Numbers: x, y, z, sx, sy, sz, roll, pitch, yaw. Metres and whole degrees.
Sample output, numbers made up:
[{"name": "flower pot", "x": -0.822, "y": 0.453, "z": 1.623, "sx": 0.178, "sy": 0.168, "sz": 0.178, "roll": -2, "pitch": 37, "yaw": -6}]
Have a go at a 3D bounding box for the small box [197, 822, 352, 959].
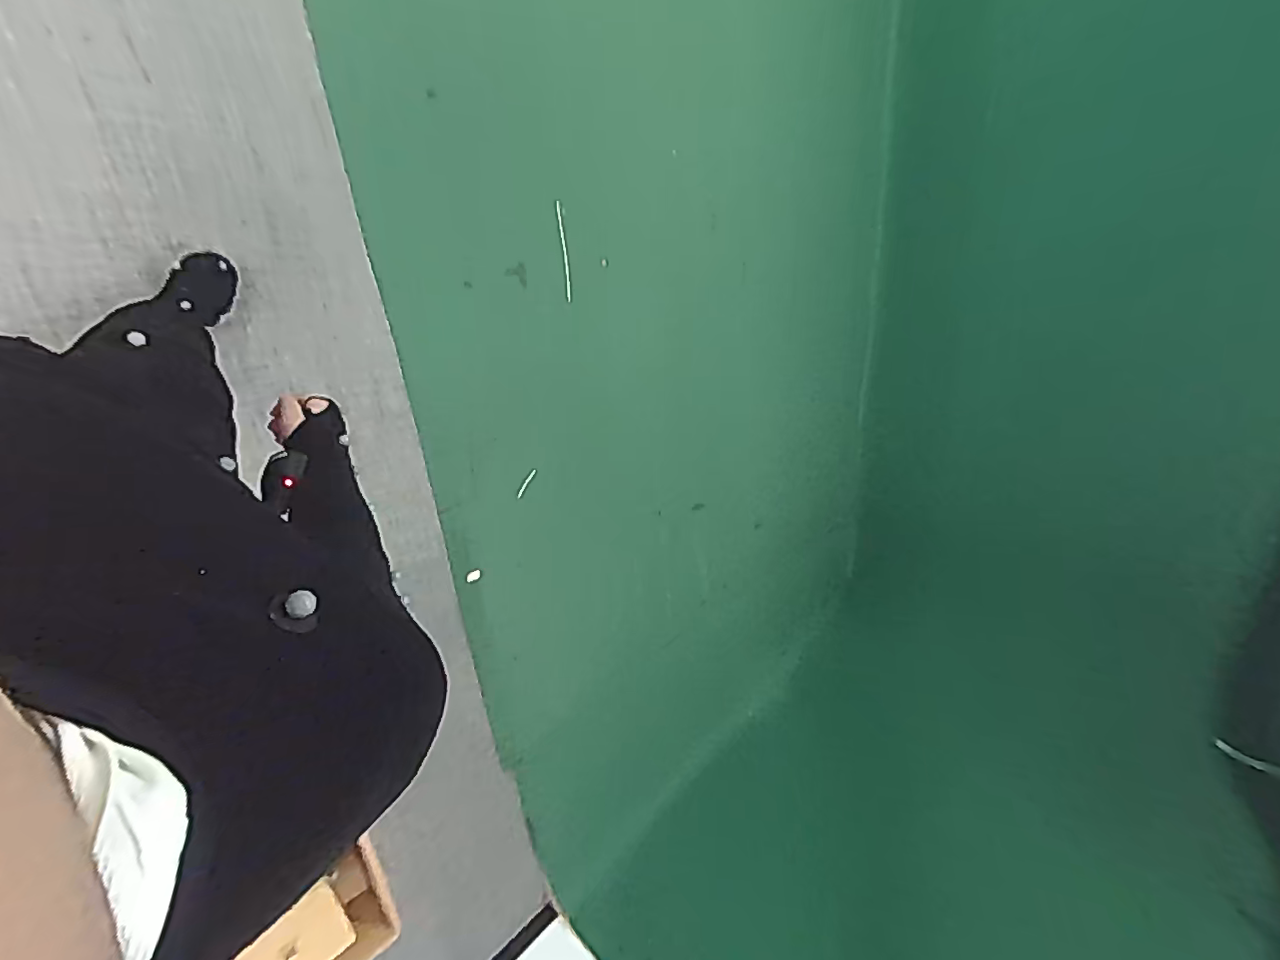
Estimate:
[{"name": "small box", "x": -0.632, "y": 0.749, "z": 0.938, "sx": 0.168, "sy": 0.176, "sz": 0.179, "roll": -25, "pitch": 120, "yaw": -37}]
